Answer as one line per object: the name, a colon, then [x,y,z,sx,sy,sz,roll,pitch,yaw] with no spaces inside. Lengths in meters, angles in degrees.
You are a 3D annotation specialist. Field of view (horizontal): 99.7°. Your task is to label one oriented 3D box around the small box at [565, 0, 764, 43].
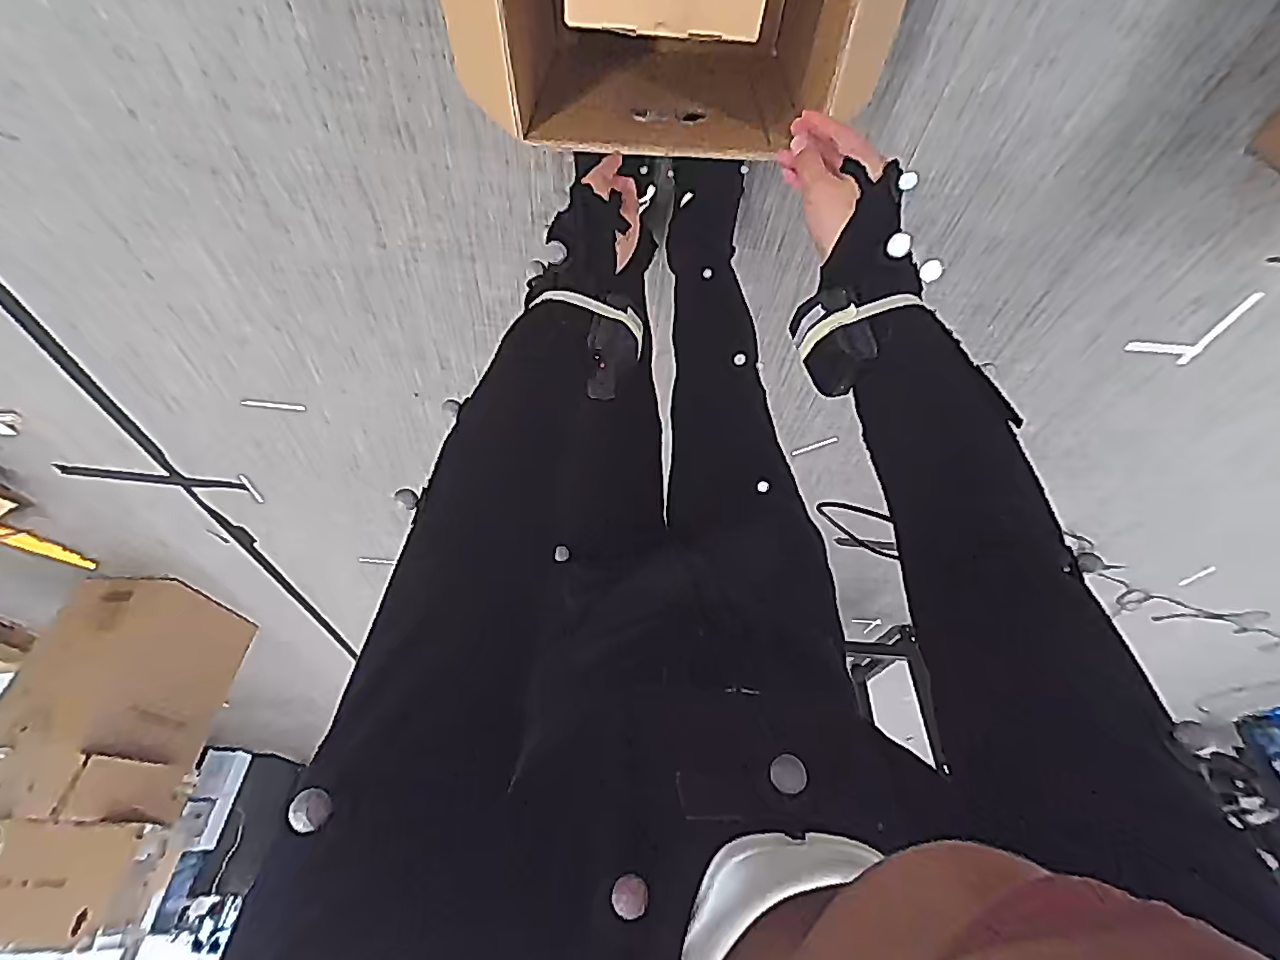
small box: [0.026,-0.492,0.436,0.168,0.176,0.179,4,144,-1]
